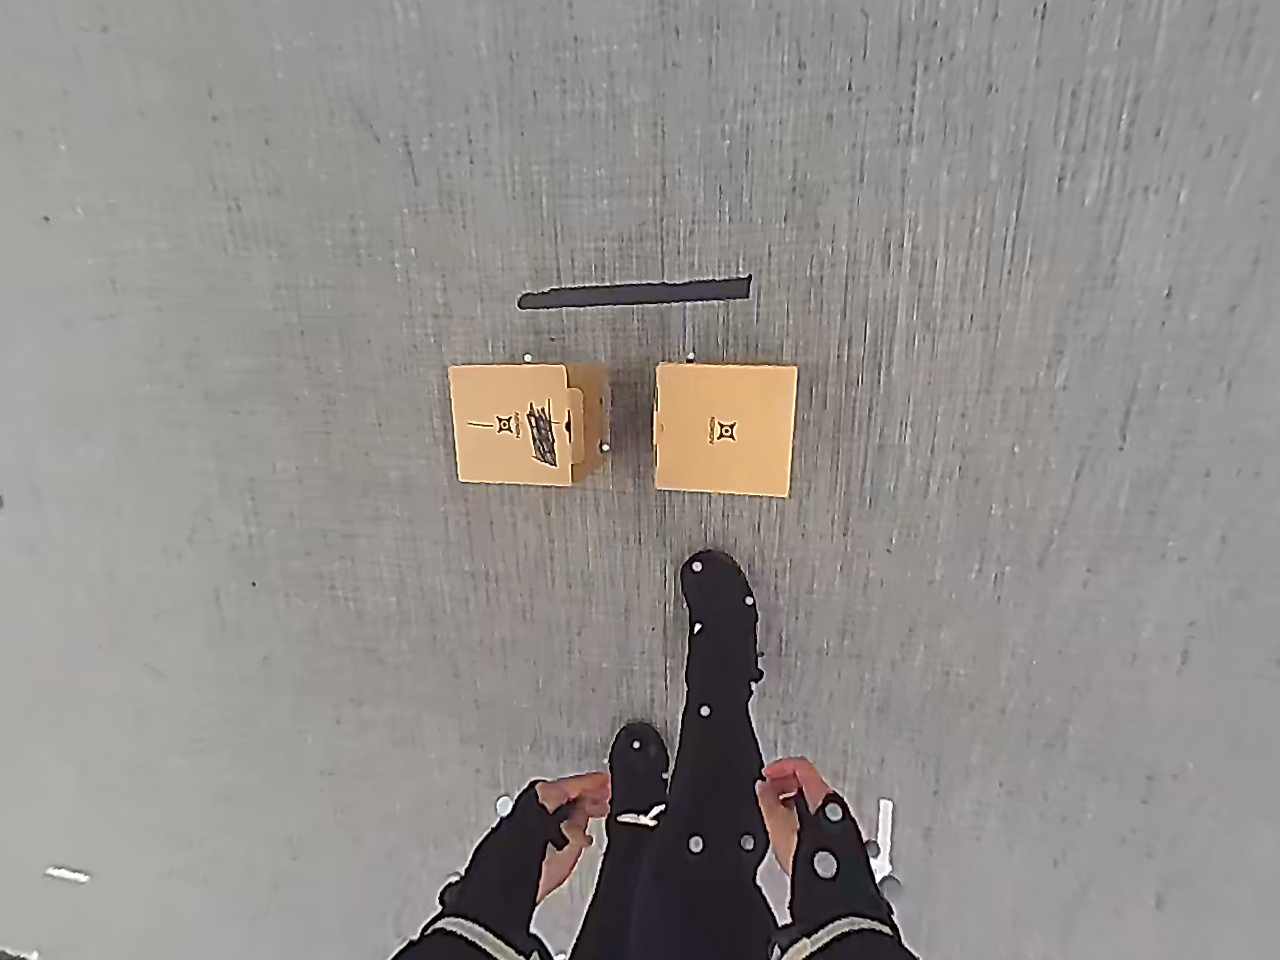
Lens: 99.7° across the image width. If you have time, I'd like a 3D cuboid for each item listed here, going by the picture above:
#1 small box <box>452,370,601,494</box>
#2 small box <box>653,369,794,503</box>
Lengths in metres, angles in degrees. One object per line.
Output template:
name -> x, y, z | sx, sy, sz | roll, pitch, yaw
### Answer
small box -> -0.160, -0.082, 0.826 | 0.179, 0.176, 0.168 | 2, 103, 12
small box -> 0.119, -0.072, 0.774 | 0.179, 0.176, 0.168 | 3, 104, 11
